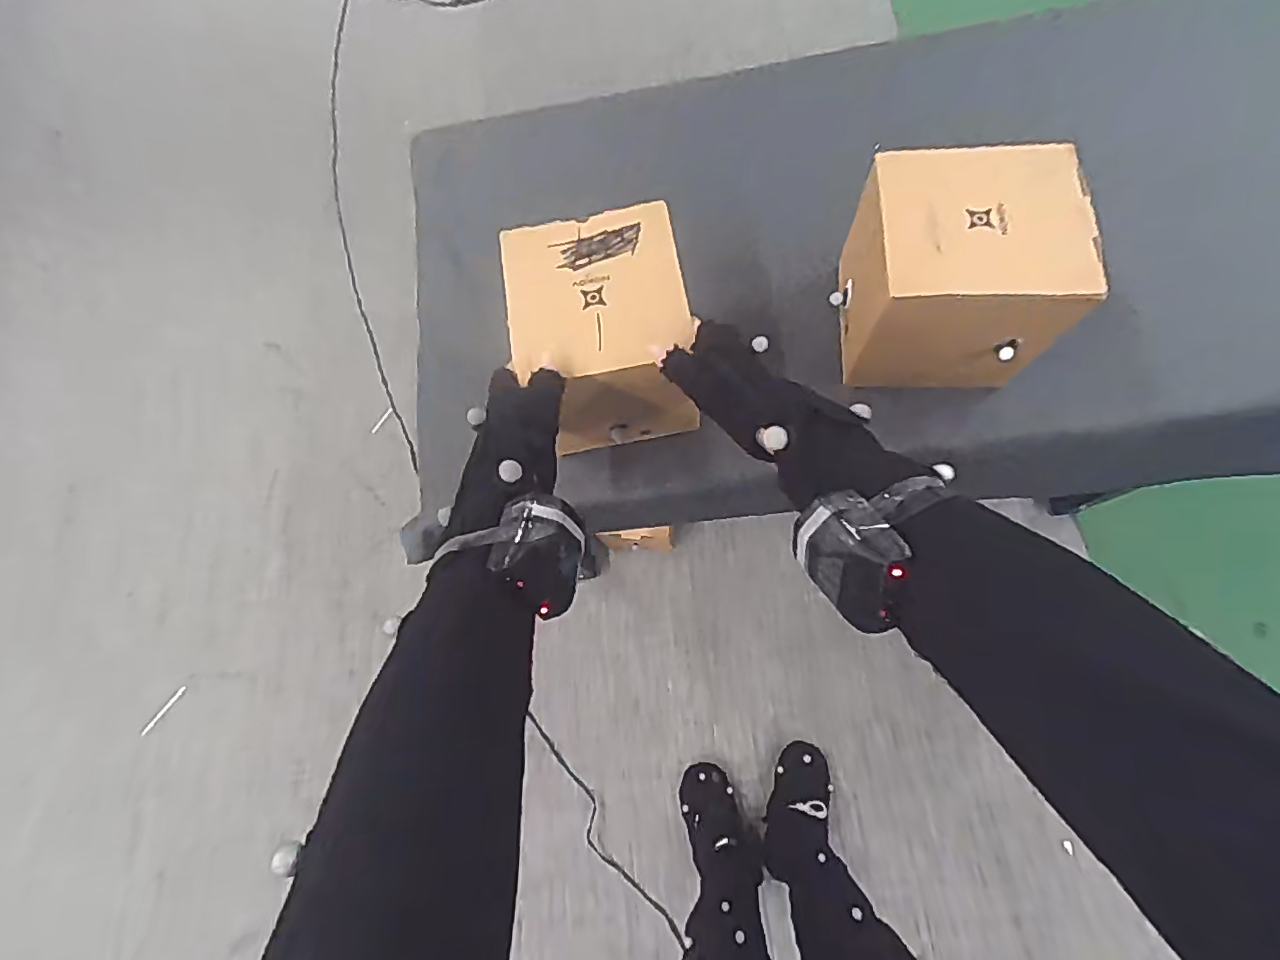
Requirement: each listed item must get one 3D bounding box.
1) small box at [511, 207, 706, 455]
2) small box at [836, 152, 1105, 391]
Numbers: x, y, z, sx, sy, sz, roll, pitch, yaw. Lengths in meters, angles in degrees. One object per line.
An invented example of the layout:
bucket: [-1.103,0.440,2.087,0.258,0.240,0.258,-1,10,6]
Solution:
small box: [-0.028,-0.147,0.574,0.168,0.176,0.179,-10,71,2]
small box: [0.318,-0.204,0.563,0.179,0.176,0.168,1,71,7]
